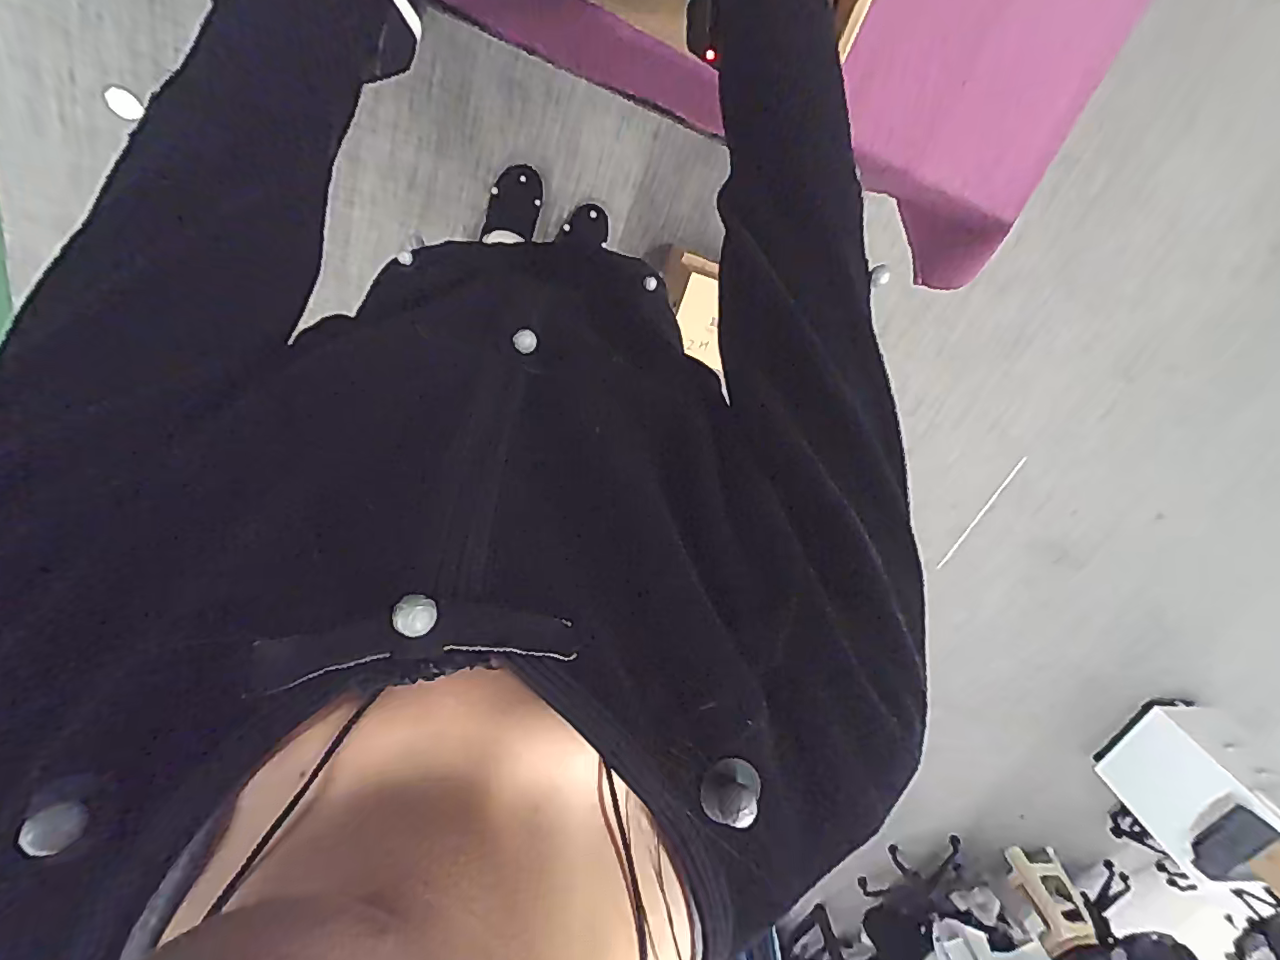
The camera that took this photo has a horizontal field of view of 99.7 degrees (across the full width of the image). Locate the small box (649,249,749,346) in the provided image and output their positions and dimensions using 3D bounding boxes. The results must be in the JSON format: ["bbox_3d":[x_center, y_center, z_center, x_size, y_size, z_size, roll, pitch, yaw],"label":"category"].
[{"bbox_3d":[0.135,-0.452,1.327,0.179,0.176,0.168,15,117,-15],"label":"small box"}]
